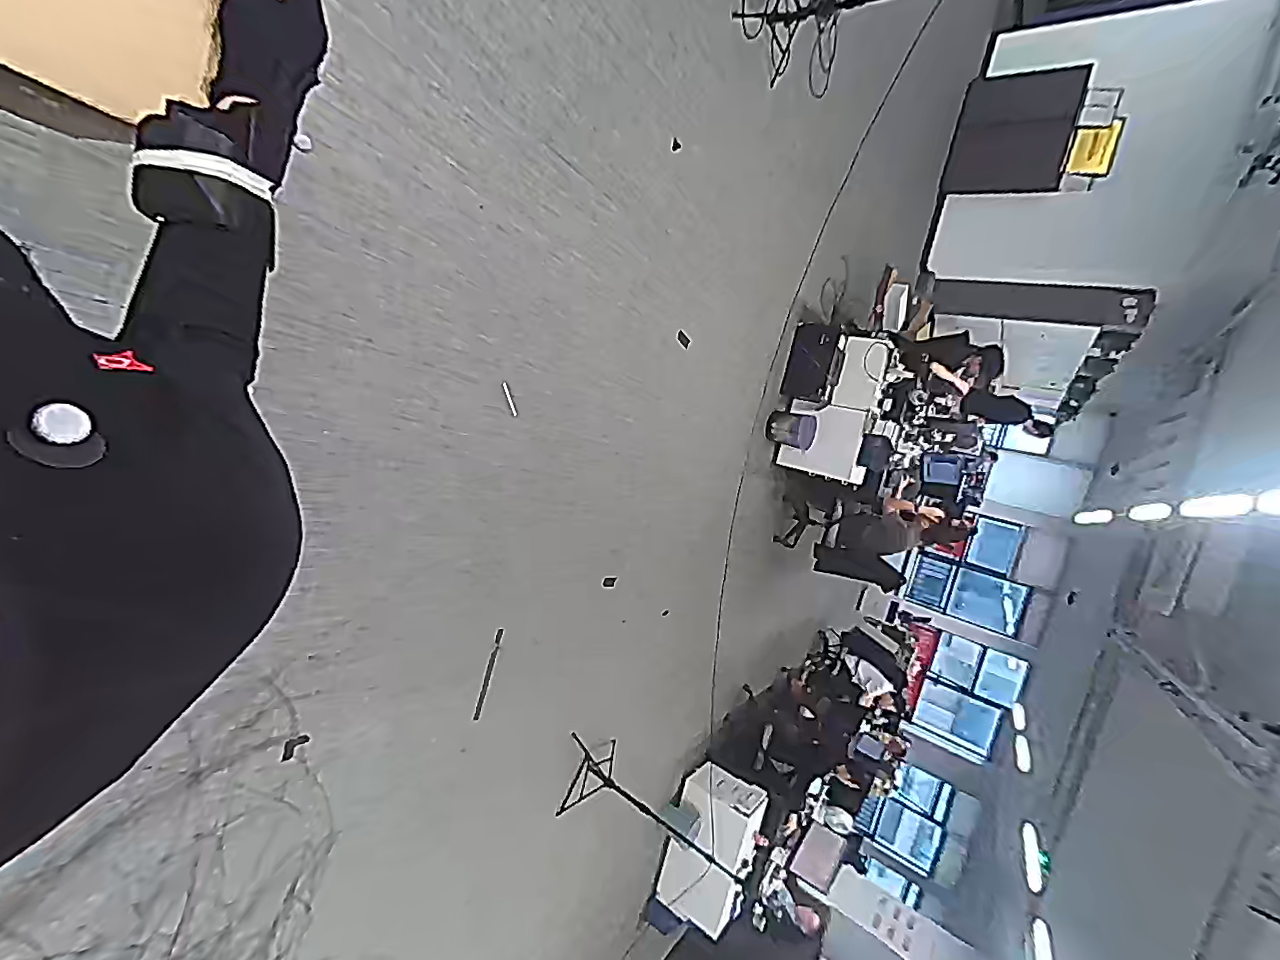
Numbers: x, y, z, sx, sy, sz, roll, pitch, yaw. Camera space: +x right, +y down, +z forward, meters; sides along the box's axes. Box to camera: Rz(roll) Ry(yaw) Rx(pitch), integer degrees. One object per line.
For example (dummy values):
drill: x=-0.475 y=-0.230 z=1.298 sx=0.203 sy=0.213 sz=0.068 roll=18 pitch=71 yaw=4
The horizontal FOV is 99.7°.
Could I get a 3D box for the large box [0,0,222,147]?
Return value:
large box: x=-0.508 y=-0.445 z=0.282 sx=0.408 sy=0.320 sz=0.320 roll=4 pitch=108 yaw=-61
